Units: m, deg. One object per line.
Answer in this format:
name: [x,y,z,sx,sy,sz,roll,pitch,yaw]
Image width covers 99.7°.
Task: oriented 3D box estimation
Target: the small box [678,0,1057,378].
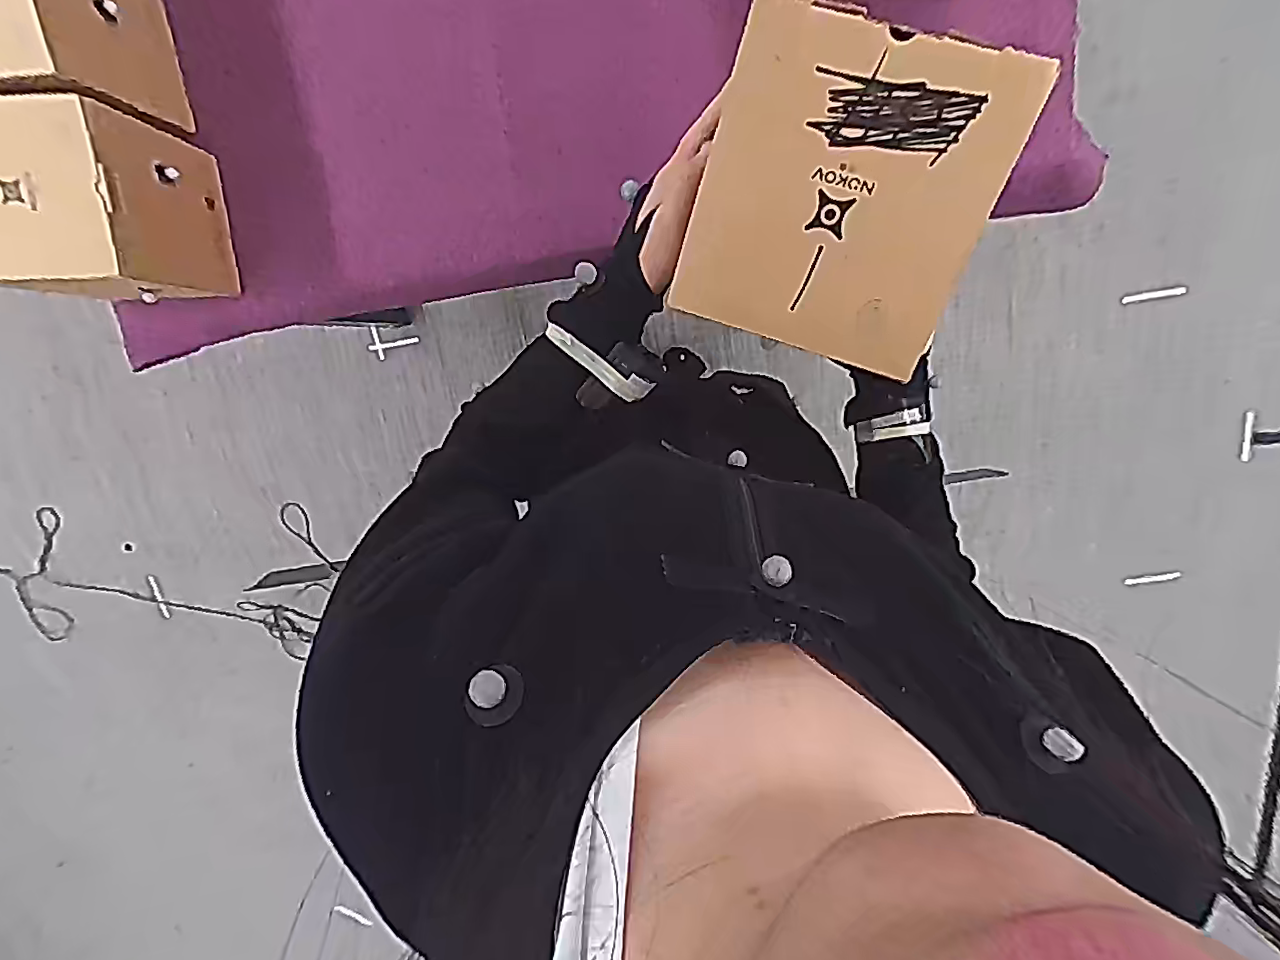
small box: [0.139,-0.191,0.395,0.168,0.176,0.179,19,111,8]
